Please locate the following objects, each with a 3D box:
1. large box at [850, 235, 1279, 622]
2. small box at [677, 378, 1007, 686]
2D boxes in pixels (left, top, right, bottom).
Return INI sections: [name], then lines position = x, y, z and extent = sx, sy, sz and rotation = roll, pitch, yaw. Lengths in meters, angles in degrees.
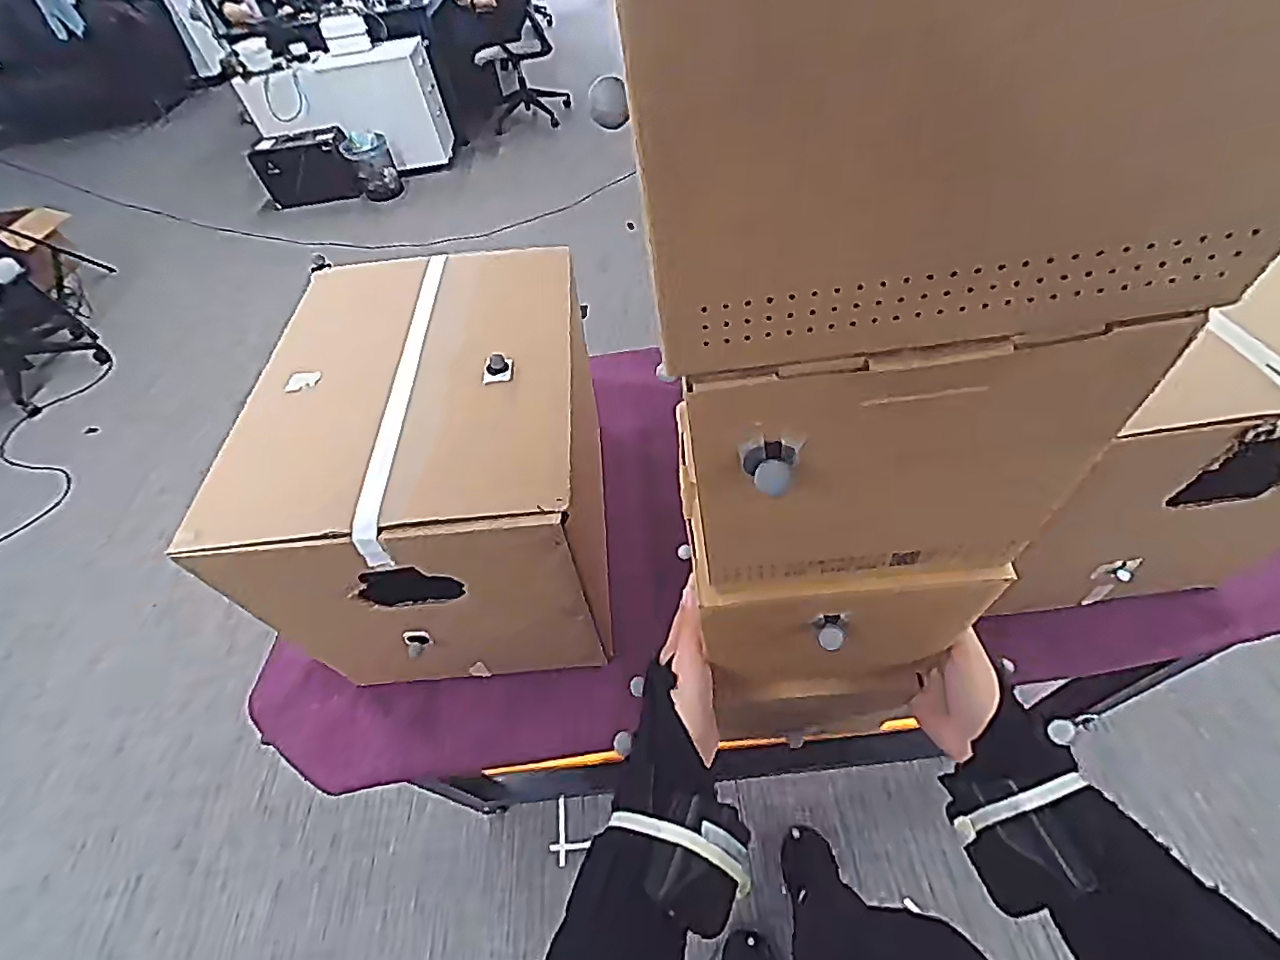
[large box]
position = 0.484, -0.097, 0.639
extent = 0.320, 0.320, 0.408
rotation = -8, 50, 1
[small box]
position = 0.126, 0.048, 0.413
extent = 0.179, 0.176, 0.168
rotation = -7, 53, 6
